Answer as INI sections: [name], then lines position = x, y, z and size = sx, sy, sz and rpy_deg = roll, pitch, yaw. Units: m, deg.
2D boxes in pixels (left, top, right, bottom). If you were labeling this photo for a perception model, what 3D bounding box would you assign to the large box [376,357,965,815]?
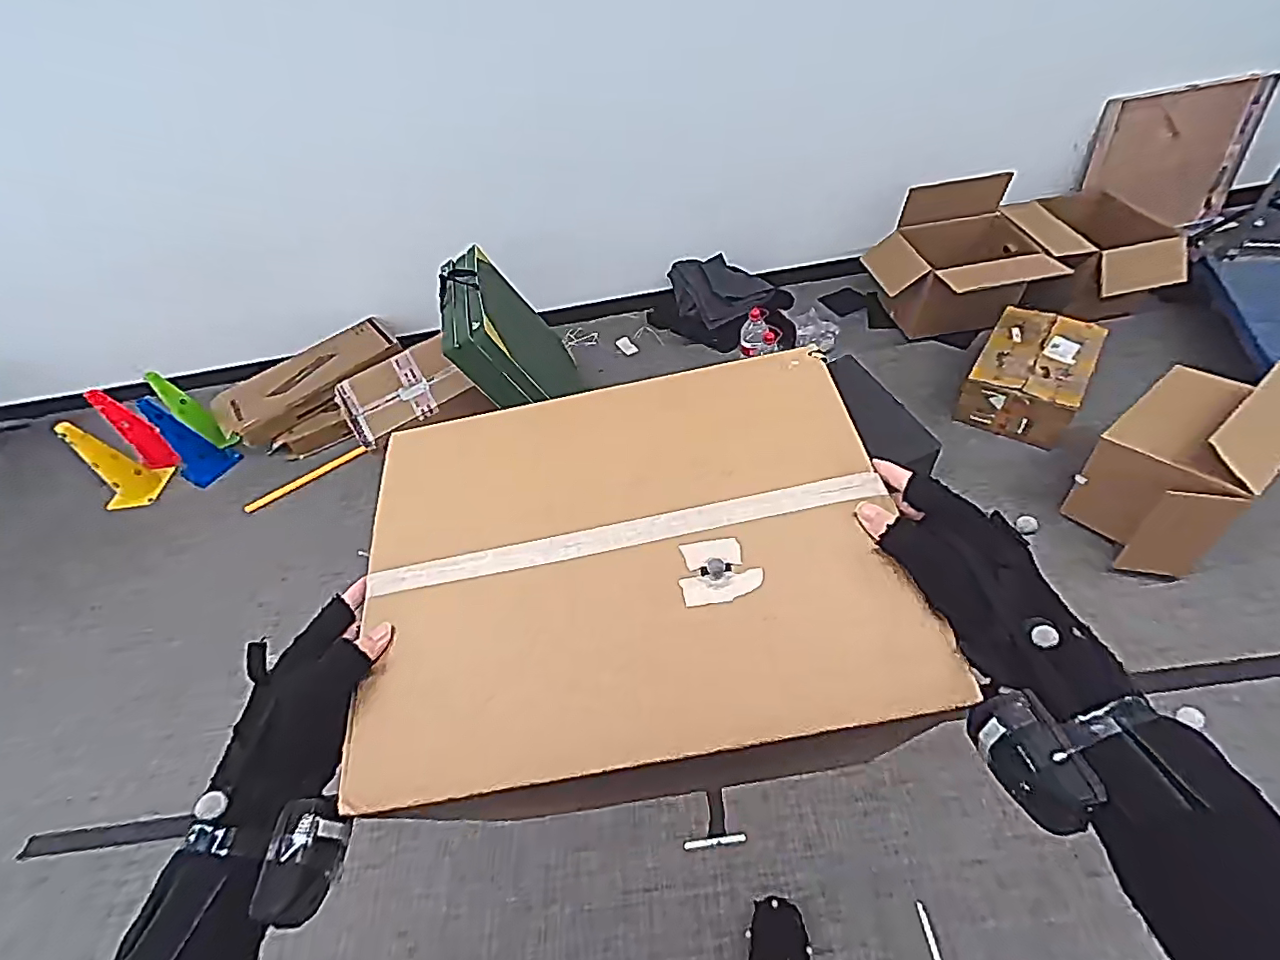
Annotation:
[large box]
position = 0.014, 0.128, 0.556
size = 0.408, 0.320, 0.320
rpy_deg = -11, 57, 2
